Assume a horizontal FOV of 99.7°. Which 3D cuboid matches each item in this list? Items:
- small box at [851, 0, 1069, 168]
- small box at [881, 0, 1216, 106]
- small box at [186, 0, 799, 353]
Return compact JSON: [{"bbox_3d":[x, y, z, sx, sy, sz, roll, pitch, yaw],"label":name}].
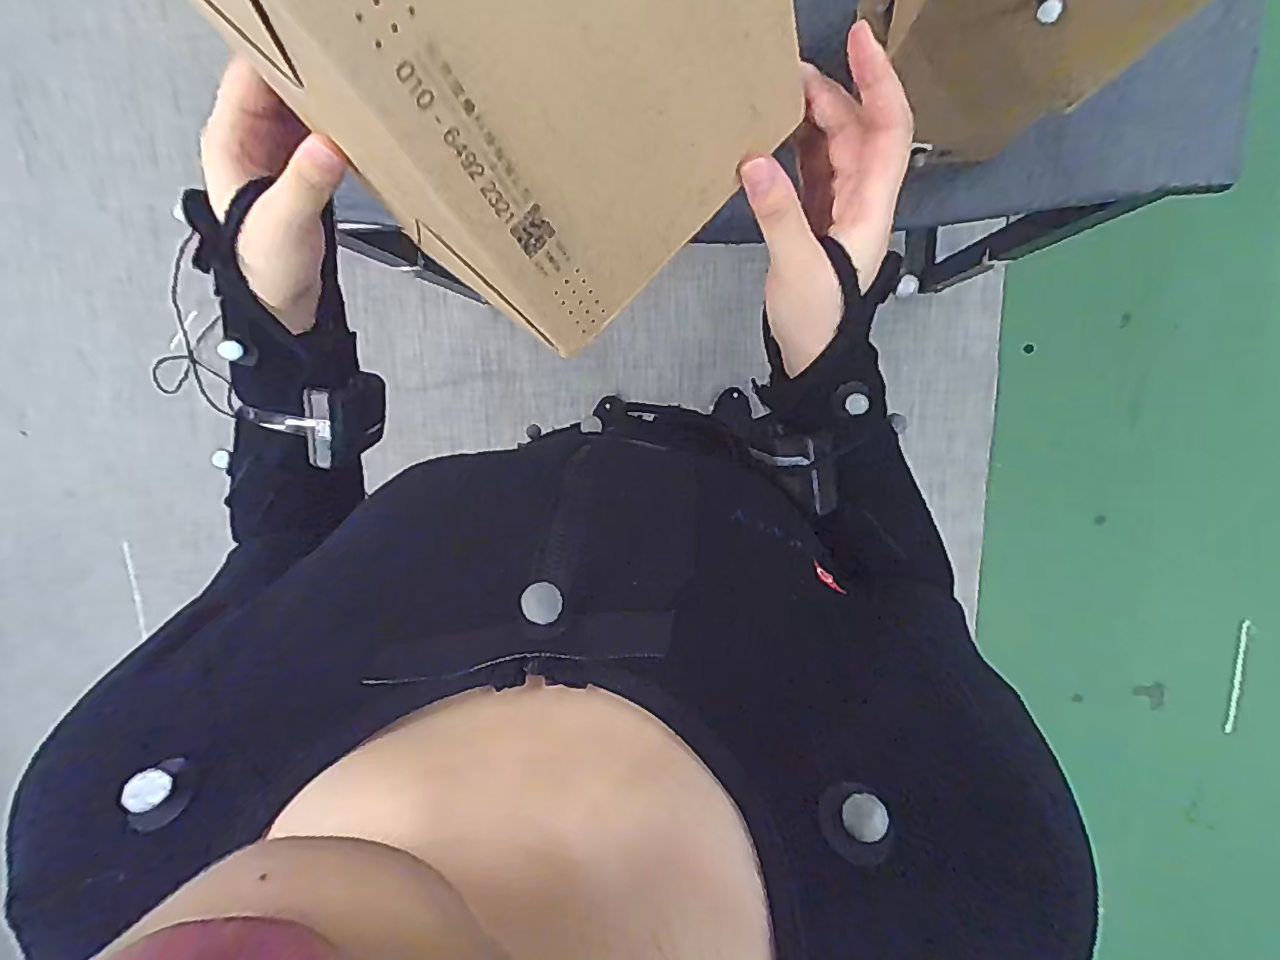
[{"bbox_3d":[0.327,-0.452,0.558,0.168,0.176,0.179,1,99,6],"label":"small box"},{"bbox_3d":[0.310,-0.414,0.401,0.179,0.176,0.168,12,99,5],"label":"small box"},{"bbox_3d":[-0.062,-0.192,0.236,0.176,0.168,0.179,-47,57,-2],"label":"small box"}]
